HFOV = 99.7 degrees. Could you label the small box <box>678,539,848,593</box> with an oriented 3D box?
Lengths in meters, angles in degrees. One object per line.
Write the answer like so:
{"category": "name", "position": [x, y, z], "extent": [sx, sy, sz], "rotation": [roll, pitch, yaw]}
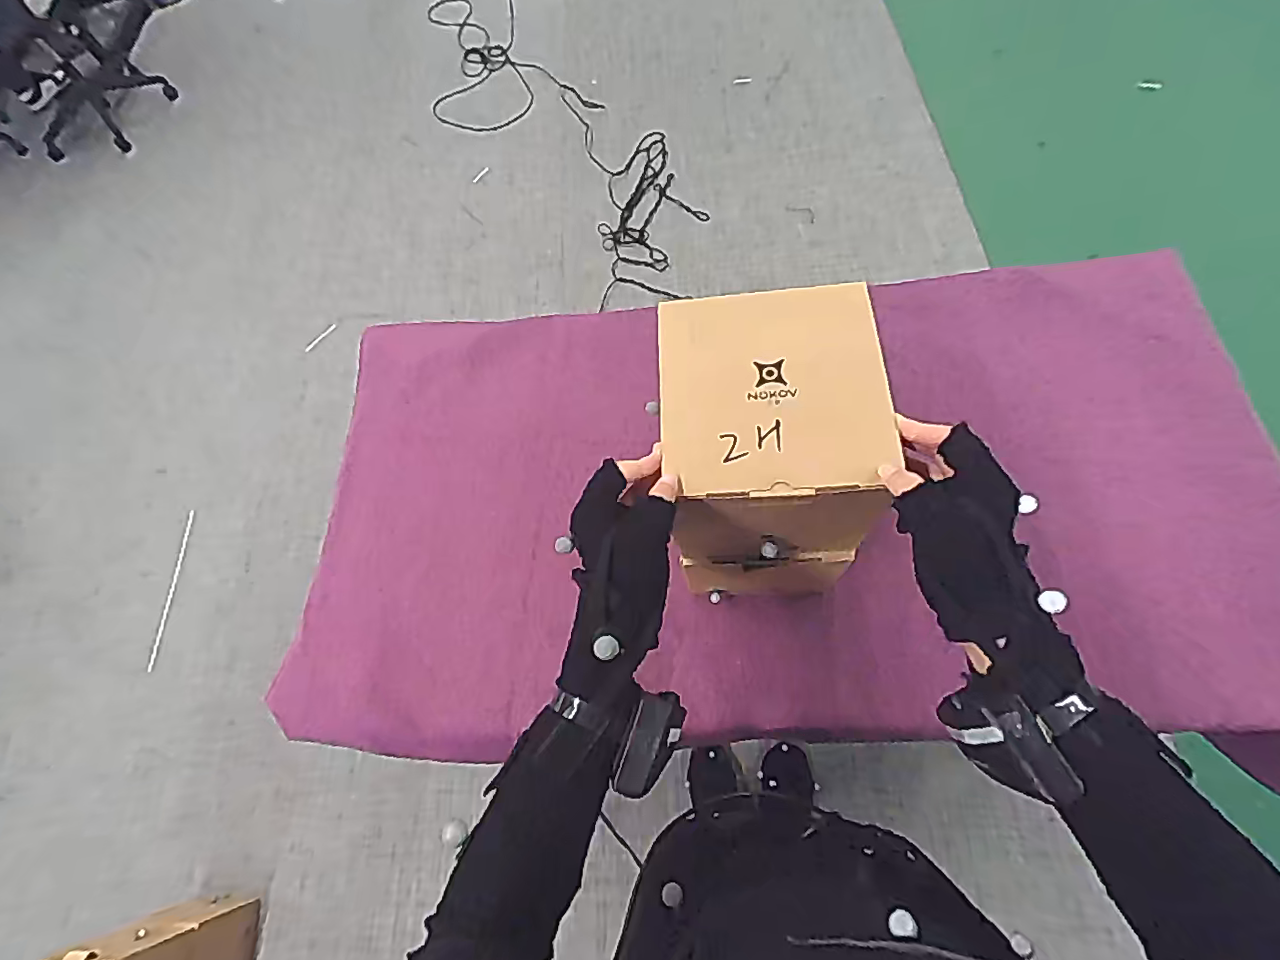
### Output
{"category": "small box", "position": [0.133, 0.033, 0.629], "extent": [0.168, 0.176, 0.179], "rotation": [-3, 66, 8]}

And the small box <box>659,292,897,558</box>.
{"category": "small box", "position": [0.107, -0.038, 0.482], "extent": [0.168, 0.176, 0.179], "rotation": [-3, 67, 8]}
